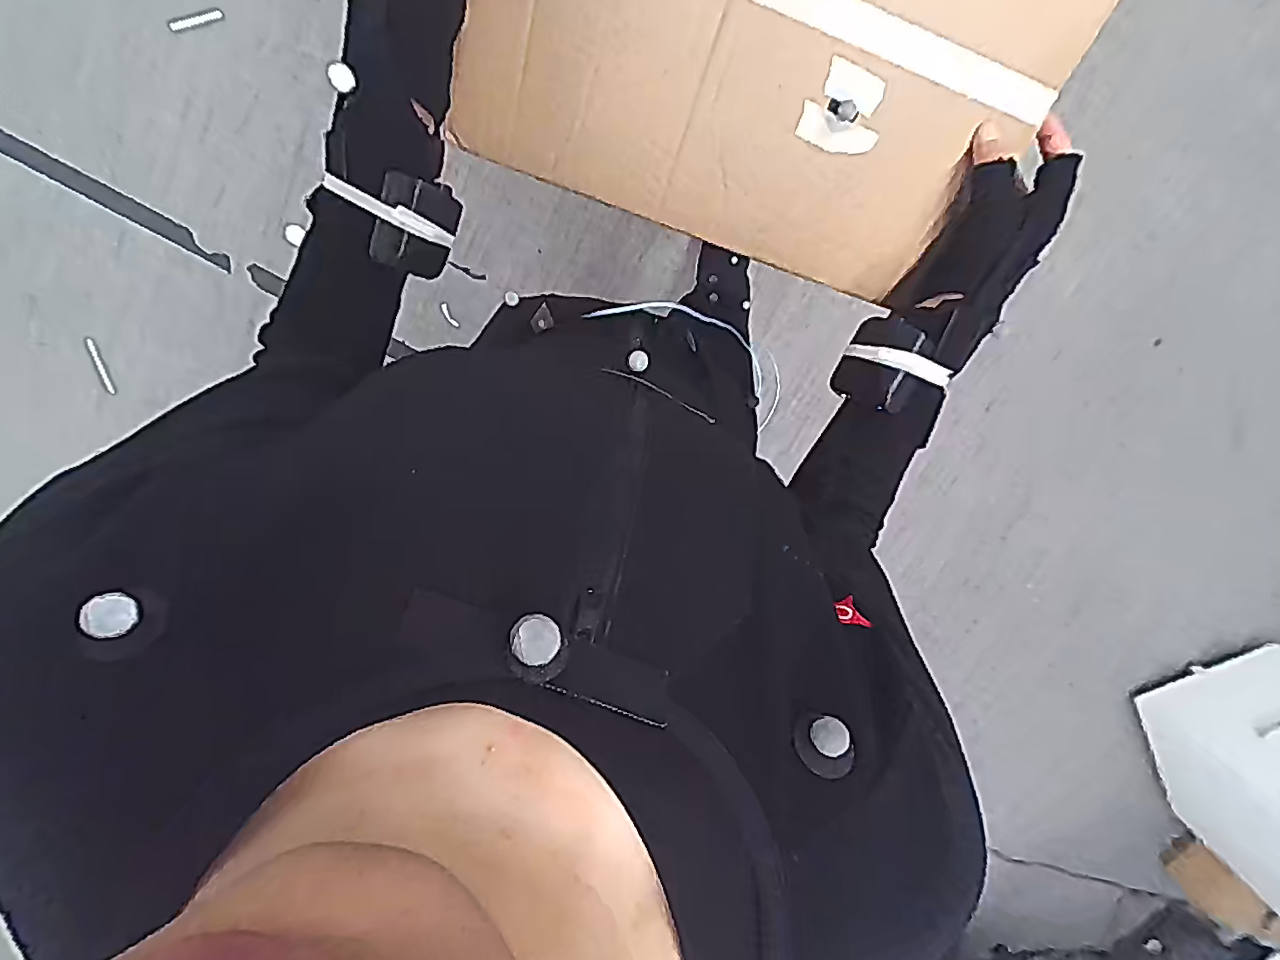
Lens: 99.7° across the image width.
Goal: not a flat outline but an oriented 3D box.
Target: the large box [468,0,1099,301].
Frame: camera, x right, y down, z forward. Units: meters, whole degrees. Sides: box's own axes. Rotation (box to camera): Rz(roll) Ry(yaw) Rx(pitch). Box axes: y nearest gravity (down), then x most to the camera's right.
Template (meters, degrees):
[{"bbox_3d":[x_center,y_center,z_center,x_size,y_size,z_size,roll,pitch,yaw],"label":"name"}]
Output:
[{"bbox_3d":[0.100,-0.413,0.485,0.408,0.320,0.320,16,126,-10],"label":"large box"}]
